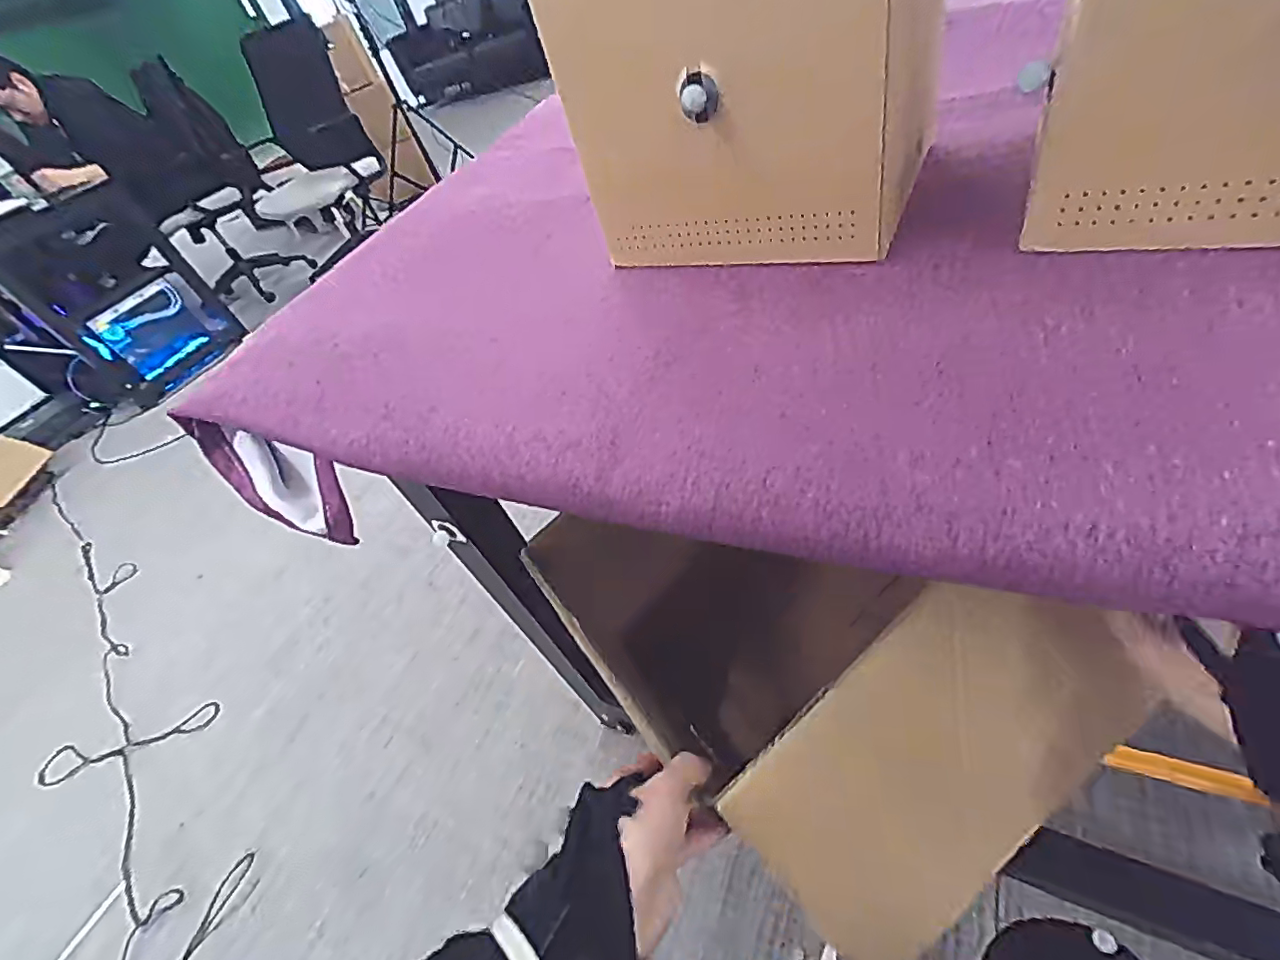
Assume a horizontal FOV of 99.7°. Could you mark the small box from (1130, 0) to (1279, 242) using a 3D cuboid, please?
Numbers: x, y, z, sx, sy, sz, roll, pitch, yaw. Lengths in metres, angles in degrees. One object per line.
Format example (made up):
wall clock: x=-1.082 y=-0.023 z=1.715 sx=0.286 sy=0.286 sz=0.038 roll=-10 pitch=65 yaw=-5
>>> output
small box: x=0.317 y=-0.213 z=0.173 sx=0.179 sy=0.176 sz=0.168 roll=-9 pitch=85 yaw=19
